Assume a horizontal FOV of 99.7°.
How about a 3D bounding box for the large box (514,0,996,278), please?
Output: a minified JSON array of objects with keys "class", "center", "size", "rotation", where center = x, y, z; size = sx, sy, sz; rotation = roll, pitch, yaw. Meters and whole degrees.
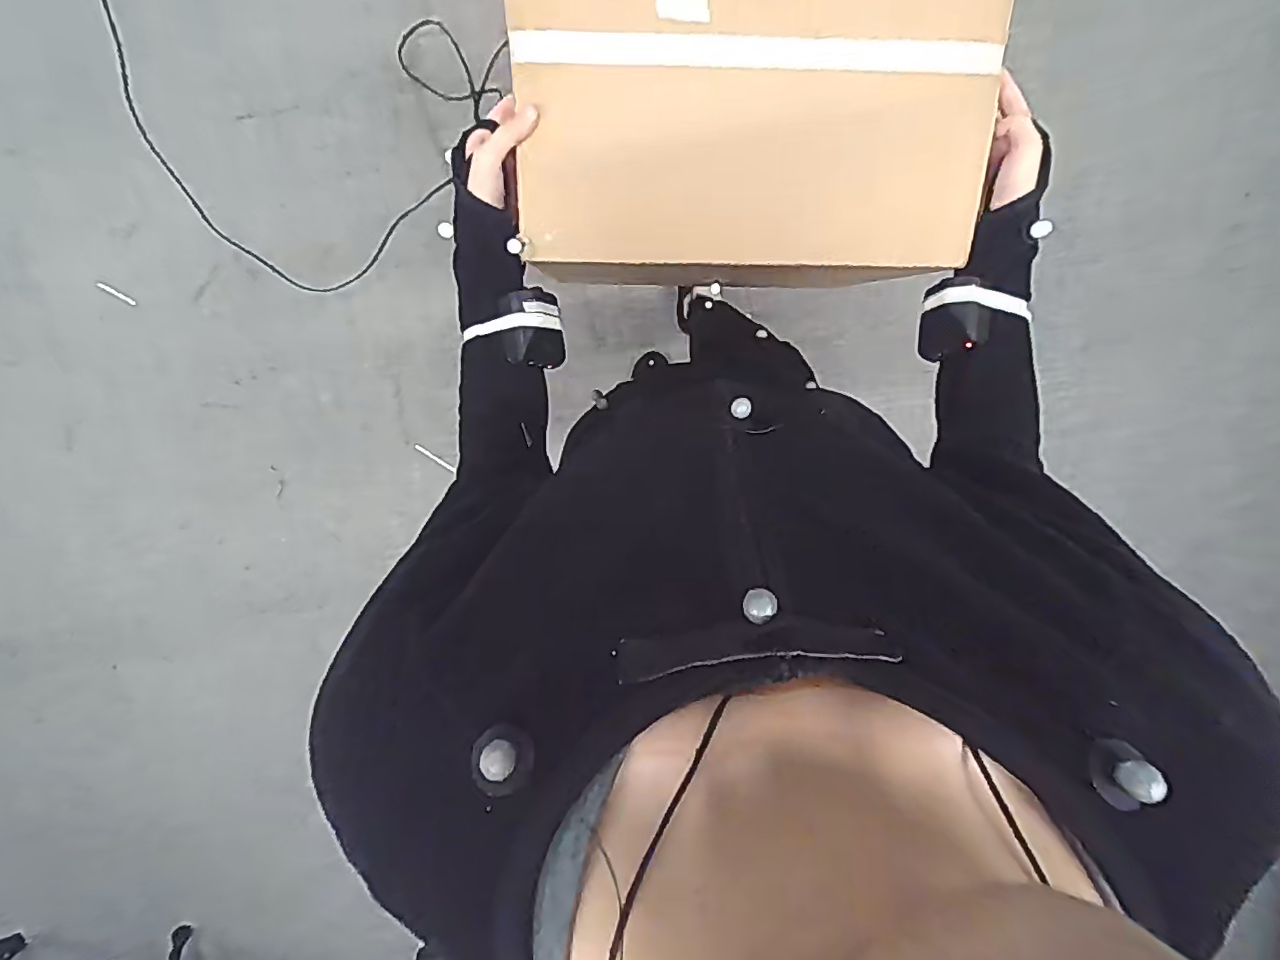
[{"class":"large box","center":[0.093,-0.396,0.597],"size":[0.408,0.320,0.320],"rotation":[0,106,-2]}]
